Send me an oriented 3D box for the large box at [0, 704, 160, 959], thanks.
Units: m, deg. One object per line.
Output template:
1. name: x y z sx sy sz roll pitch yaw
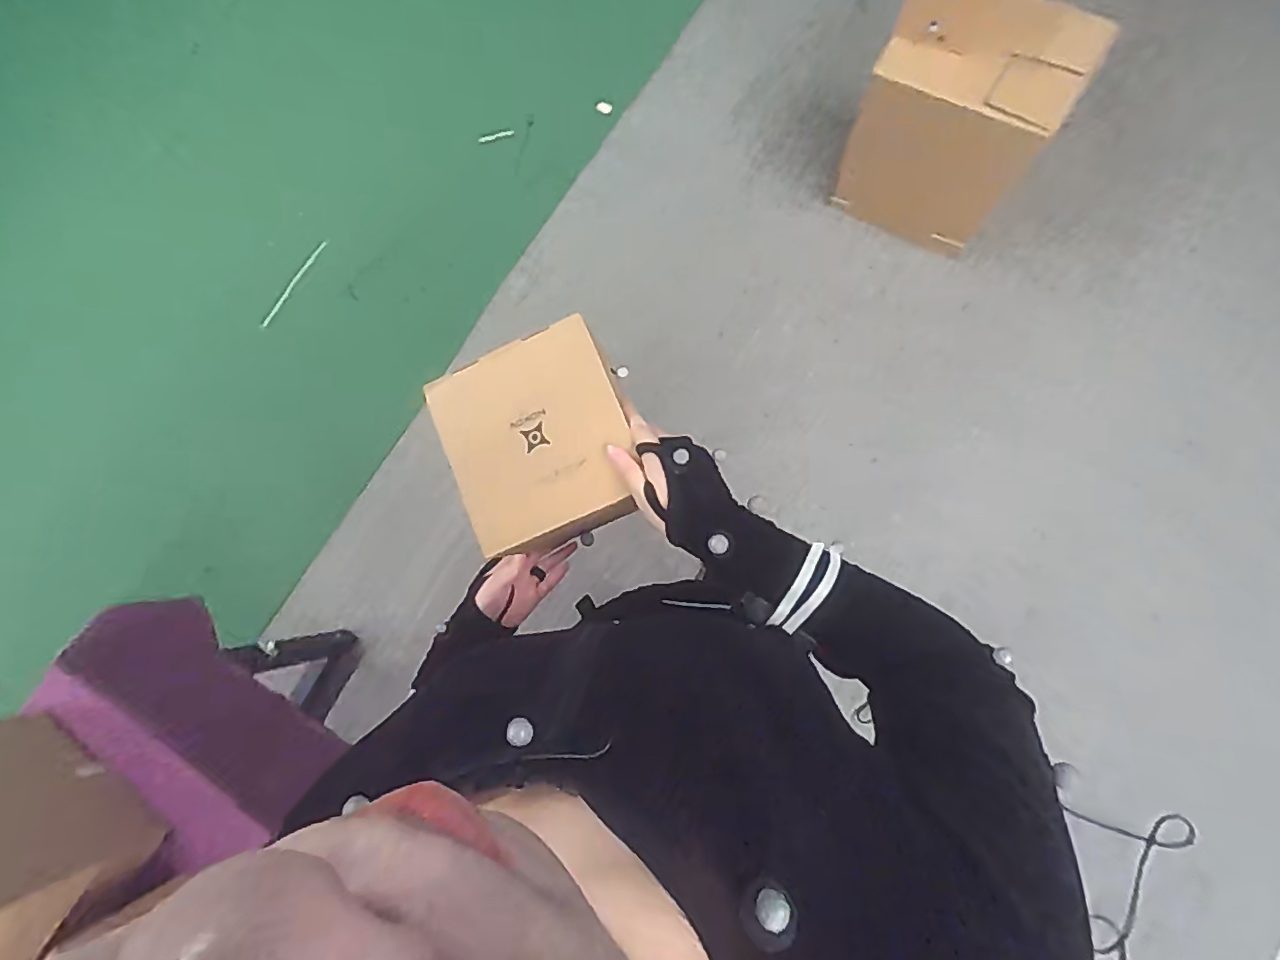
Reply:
1. large box: -0.958 0.569 0.675 0.320 0.320 0.408 32 84 10
